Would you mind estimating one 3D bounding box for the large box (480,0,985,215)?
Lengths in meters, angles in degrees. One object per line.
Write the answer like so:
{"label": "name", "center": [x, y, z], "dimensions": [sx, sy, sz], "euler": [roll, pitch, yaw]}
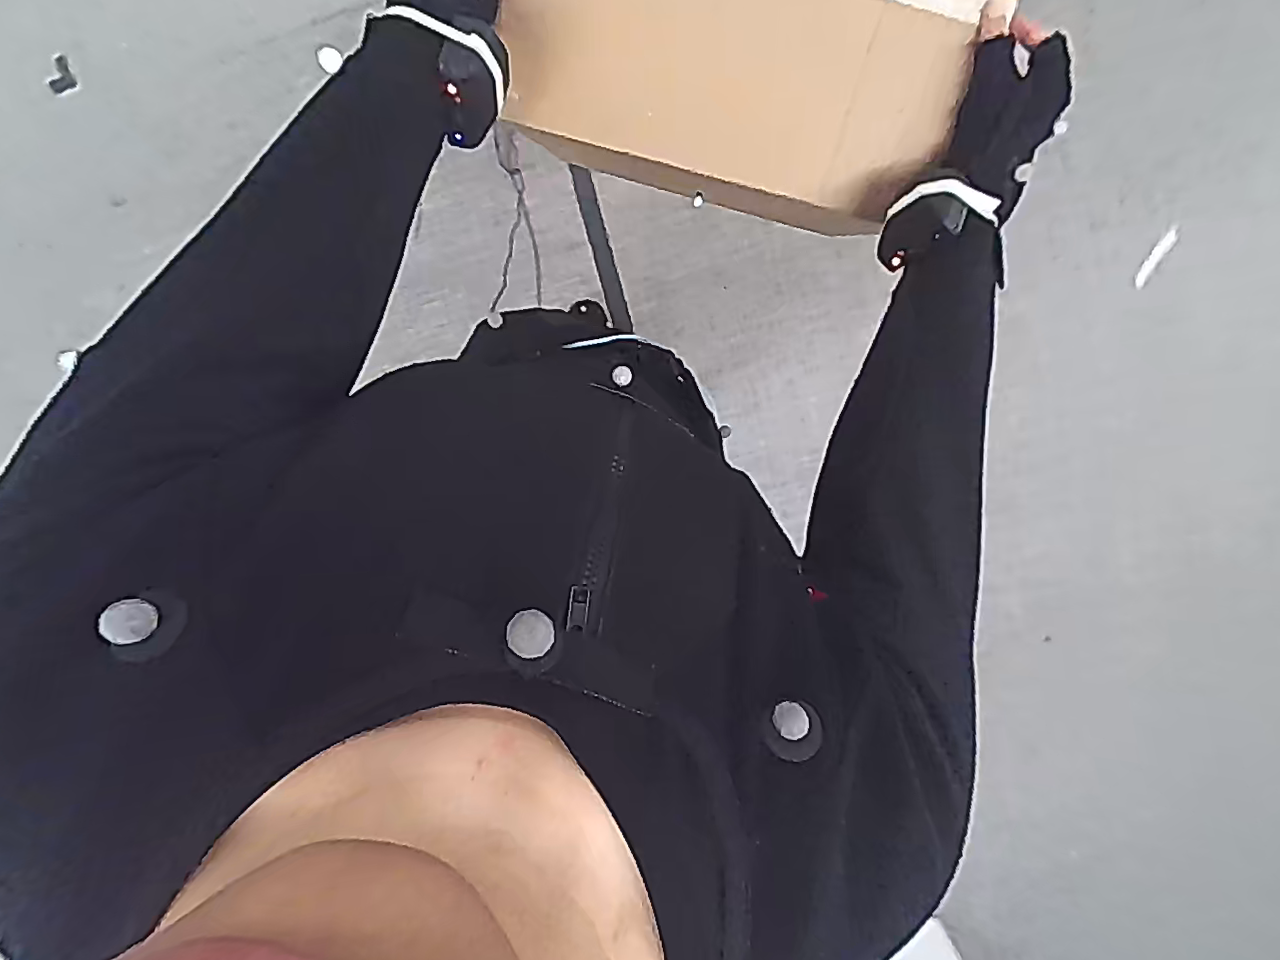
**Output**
{"label": "large box", "center": [0.095, -0.485, 0.558], "dimensions": [0.408, 0.320, 0.320], "euler": [14, 113, -1]}
